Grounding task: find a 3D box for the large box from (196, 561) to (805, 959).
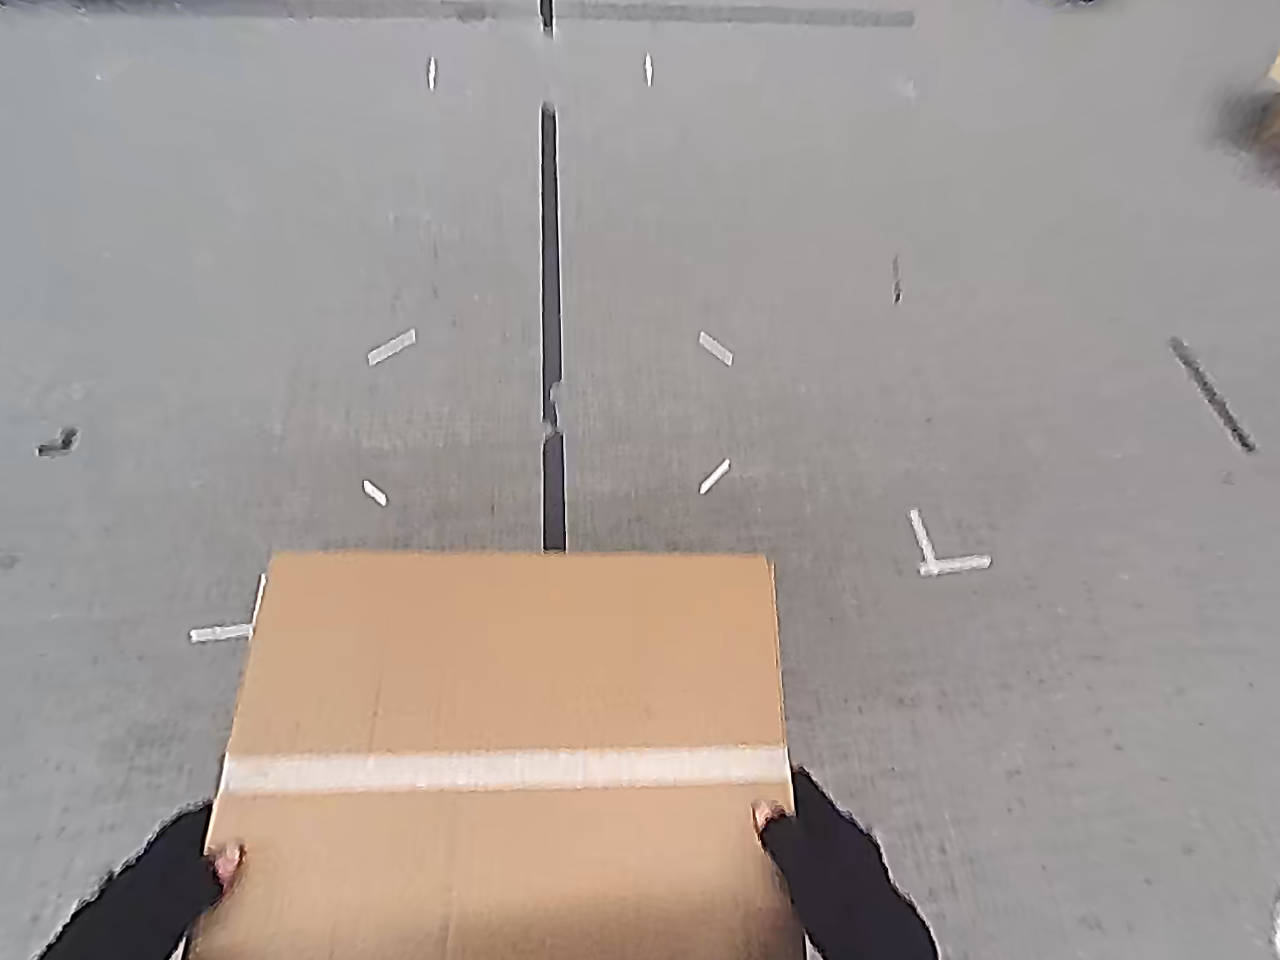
[{"bbox_3d":[-0.095,0.262,0.531,0.408,0.320,0.320,0,70,-3],"label":"large box"}]
